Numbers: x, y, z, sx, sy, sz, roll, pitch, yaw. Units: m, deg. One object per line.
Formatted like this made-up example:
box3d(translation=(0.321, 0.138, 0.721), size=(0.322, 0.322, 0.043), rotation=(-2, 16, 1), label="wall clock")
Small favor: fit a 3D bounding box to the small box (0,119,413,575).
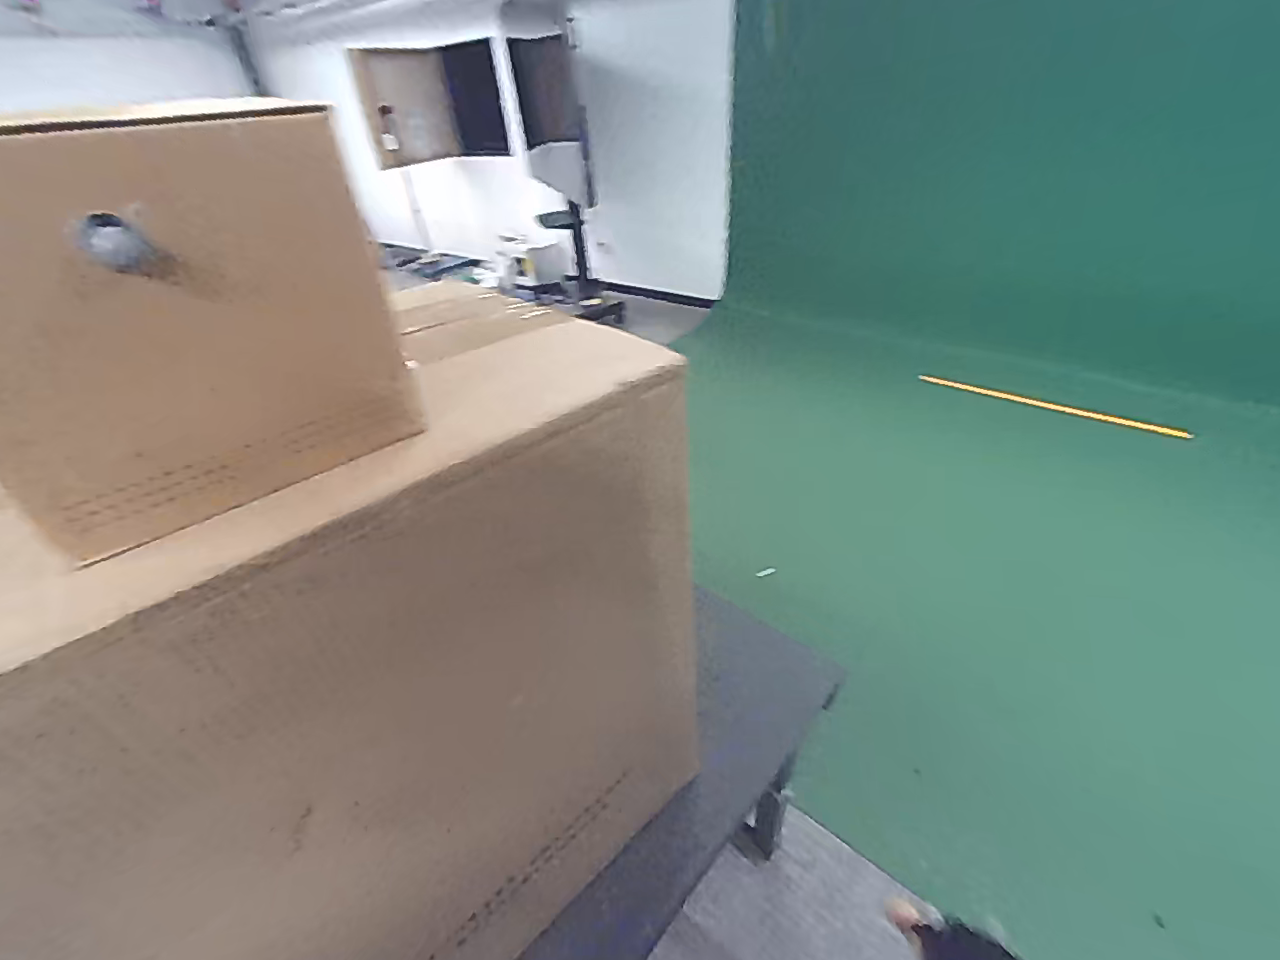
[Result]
box3d(translation=(-0.246, -0.085, 0.293), size=(0.179, 0.176, 0.168), rotation=(-30, 45, -30), label="small box")
